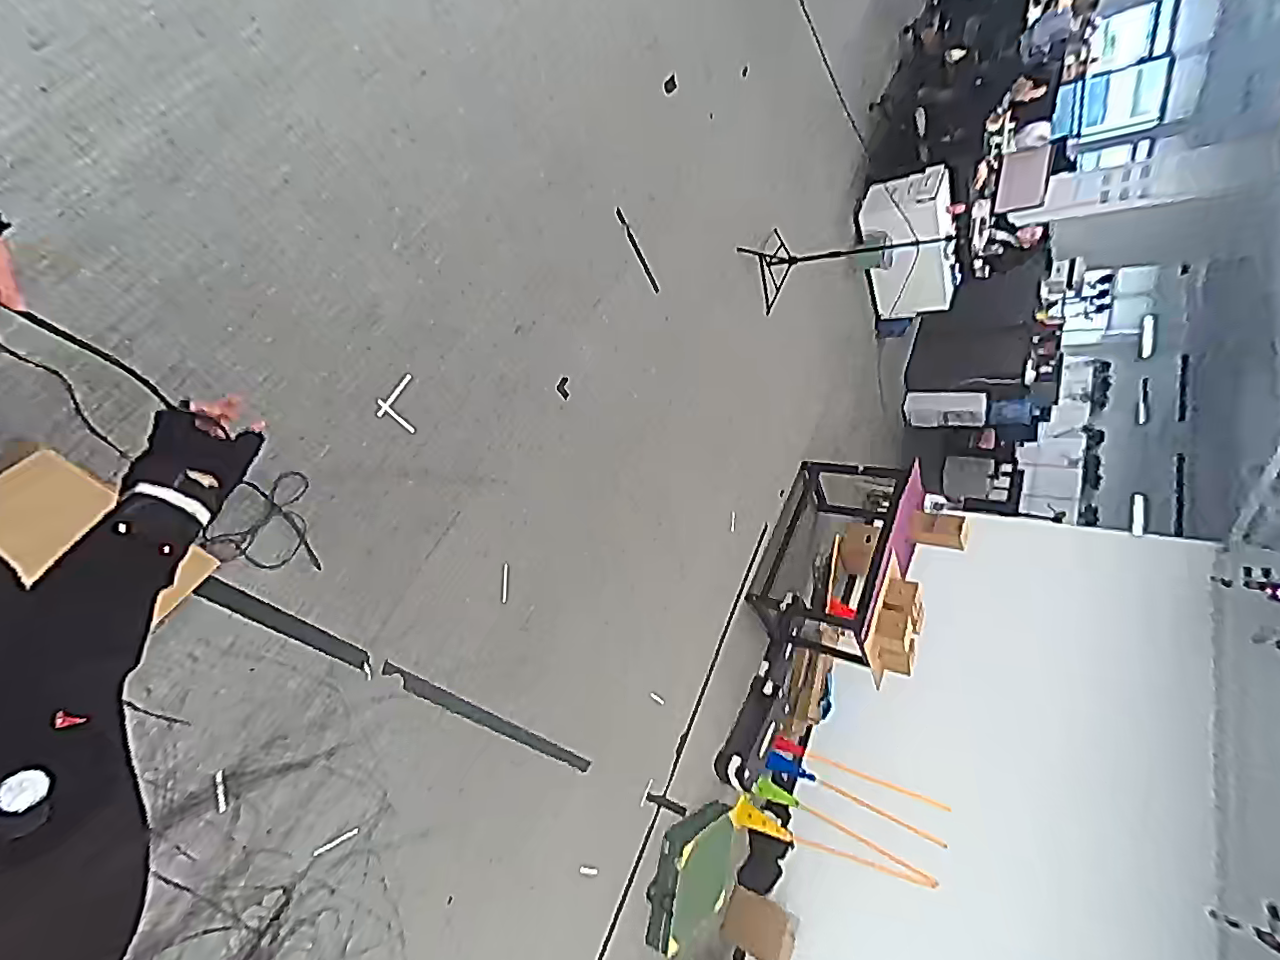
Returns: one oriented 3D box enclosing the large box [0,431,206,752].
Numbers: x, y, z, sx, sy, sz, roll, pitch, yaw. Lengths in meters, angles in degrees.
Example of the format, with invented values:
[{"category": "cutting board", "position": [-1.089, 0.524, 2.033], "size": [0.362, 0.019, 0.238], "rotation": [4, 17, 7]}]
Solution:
[{"category": "large box", "position": [-1.077, 0.168, 0.916], "size": [0.408, 0.320, 0.320], "rotation": [-56, 134, -29]}]
